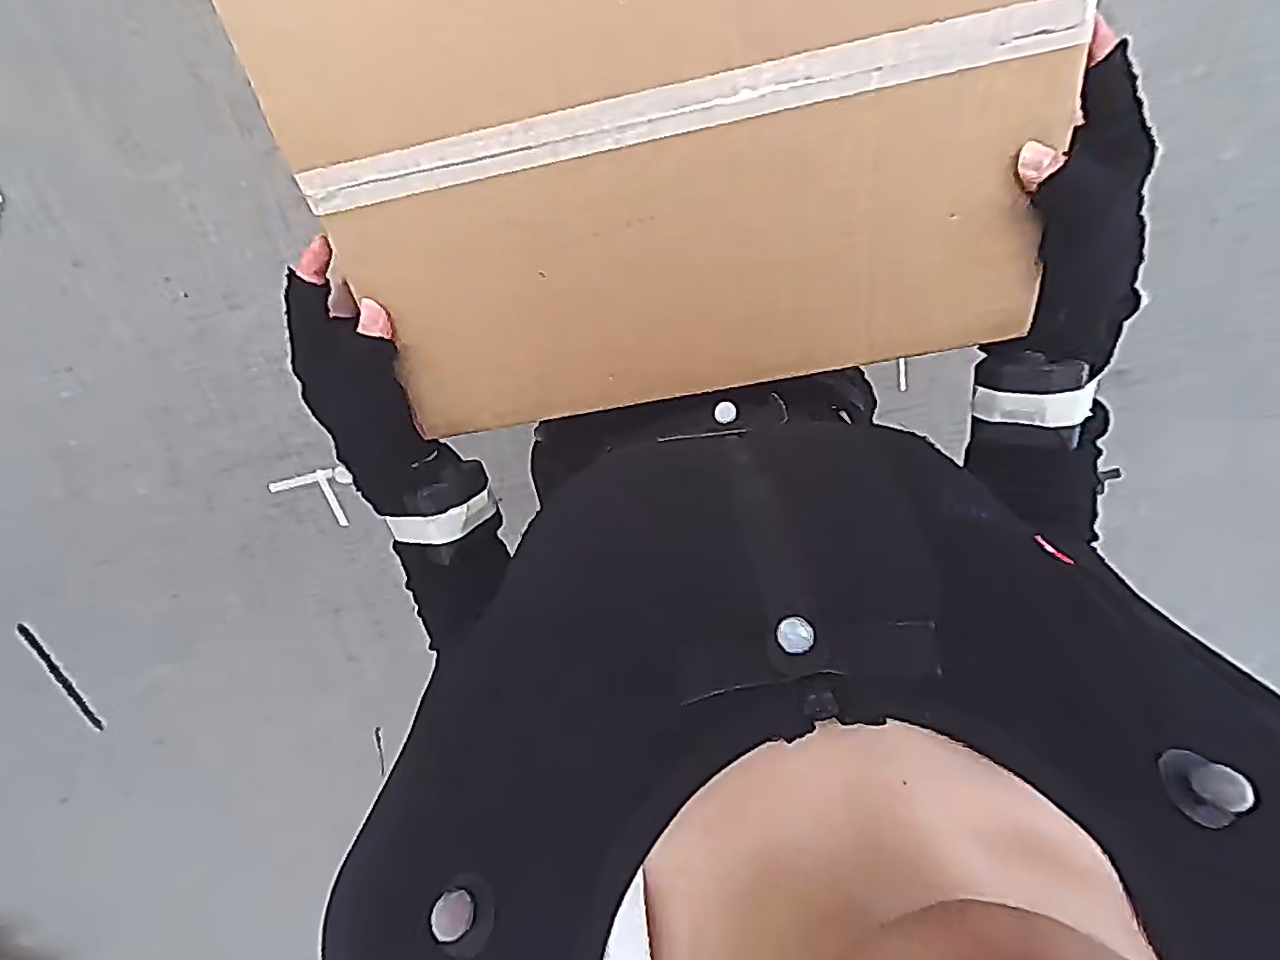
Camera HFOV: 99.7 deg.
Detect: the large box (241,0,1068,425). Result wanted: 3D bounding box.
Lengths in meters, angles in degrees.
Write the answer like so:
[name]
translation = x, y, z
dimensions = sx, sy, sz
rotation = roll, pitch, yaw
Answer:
[large box]
translation = 0.014, -0.276, 0.413
dimensions = 0.408, 0.320, 0.320
rotation = -9, 124, 5
